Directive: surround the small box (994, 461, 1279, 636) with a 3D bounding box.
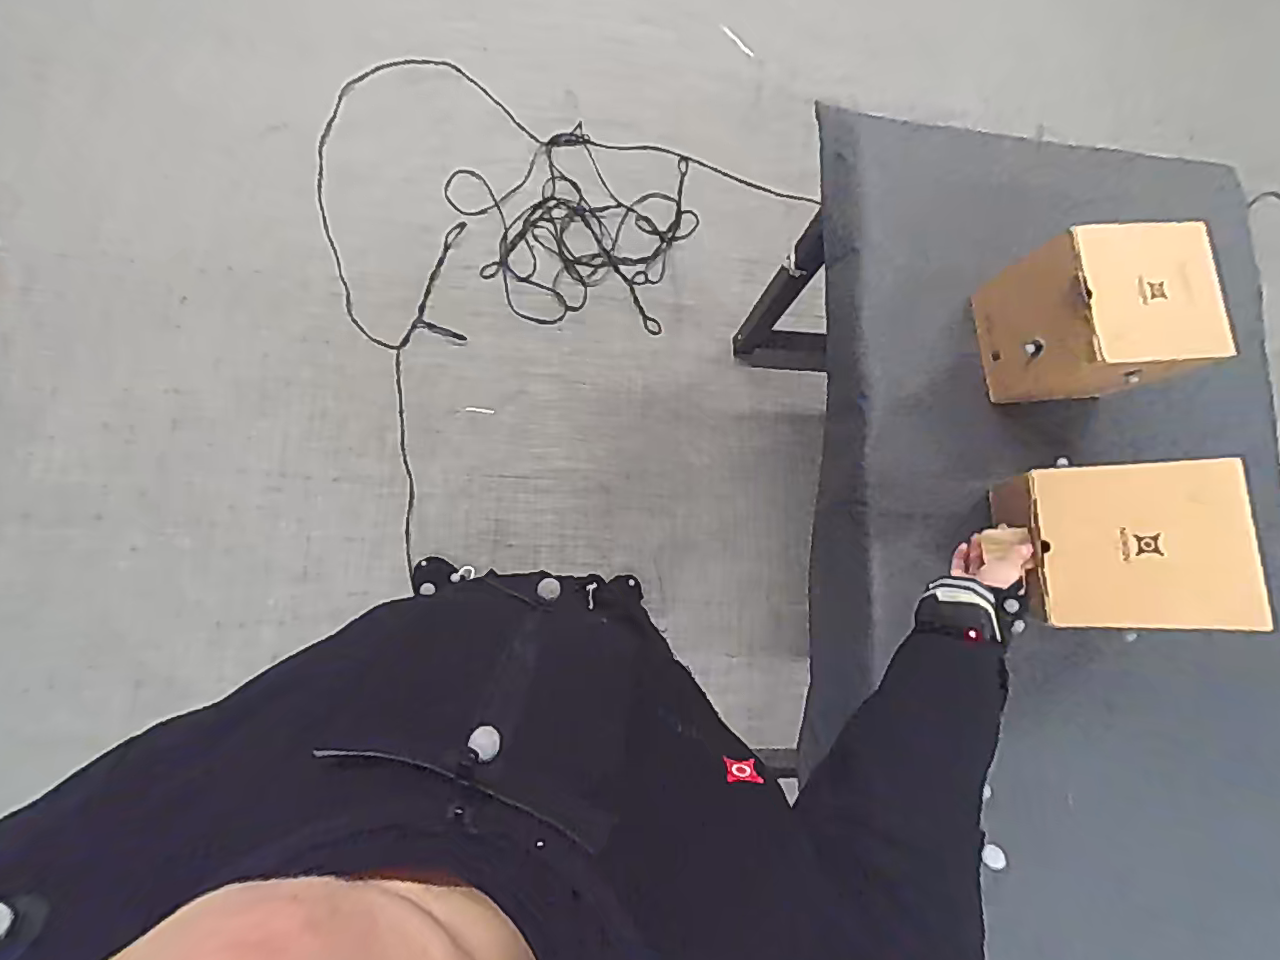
[{"bbox_3d":[0.526,0.076,0.604,0.179,0.176,0.168,-6,81,21],"label":"small box"}]

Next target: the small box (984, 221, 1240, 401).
[{"bbox_3d":[0.570,-0.202,0.683,0.179,0.176,0.168,-5,83,-9],"label":"small box"}]
